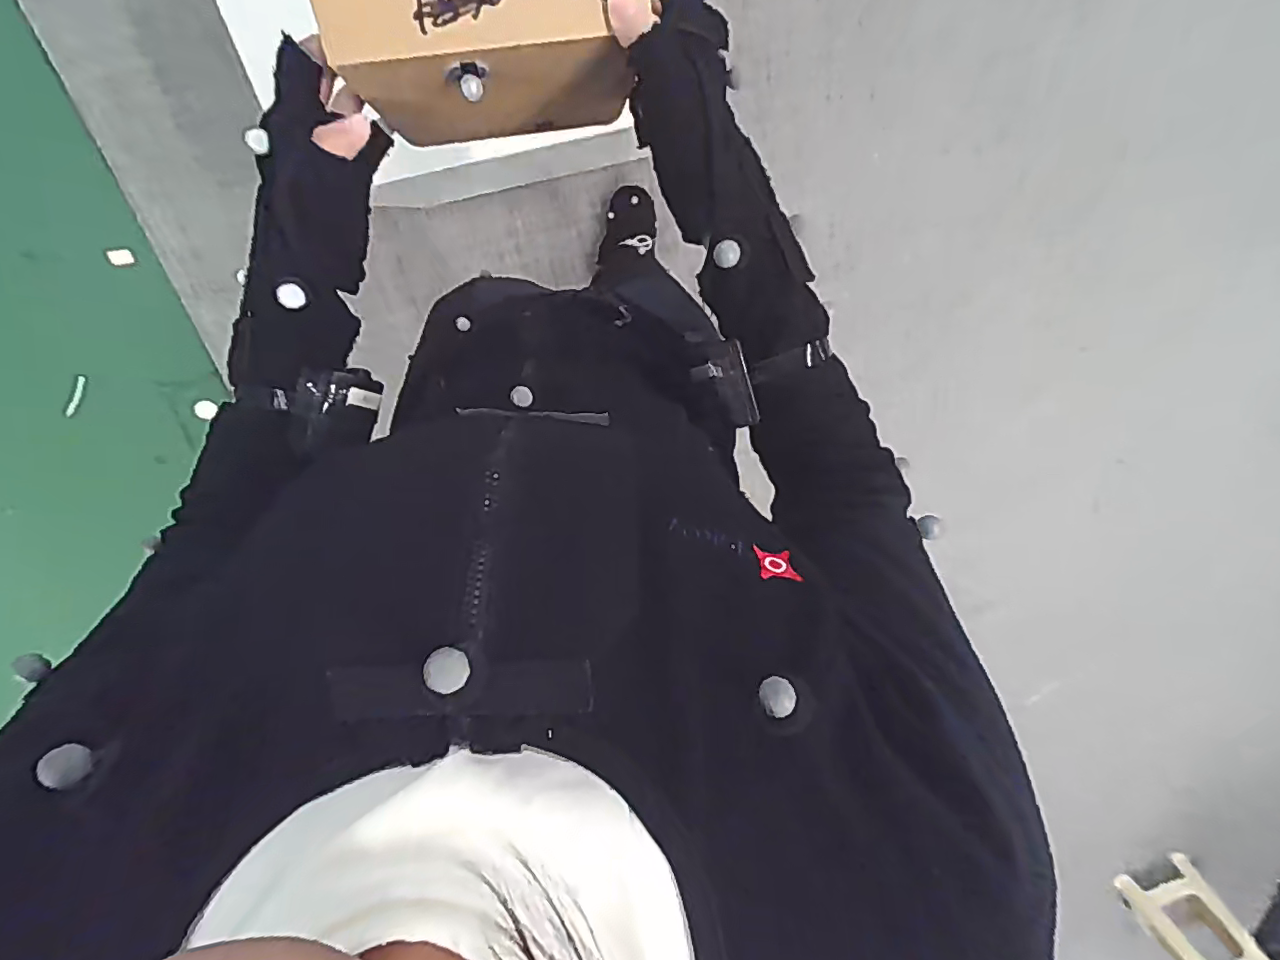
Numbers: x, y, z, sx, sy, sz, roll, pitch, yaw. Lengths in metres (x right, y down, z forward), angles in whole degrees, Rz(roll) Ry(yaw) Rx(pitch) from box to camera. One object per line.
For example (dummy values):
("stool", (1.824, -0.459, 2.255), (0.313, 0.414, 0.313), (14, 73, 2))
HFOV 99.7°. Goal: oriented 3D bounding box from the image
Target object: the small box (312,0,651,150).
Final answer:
("small box", (-0.096, -0.324, 0.321), (0.168, 0.176, 0.179), (-10, 110, -4))
